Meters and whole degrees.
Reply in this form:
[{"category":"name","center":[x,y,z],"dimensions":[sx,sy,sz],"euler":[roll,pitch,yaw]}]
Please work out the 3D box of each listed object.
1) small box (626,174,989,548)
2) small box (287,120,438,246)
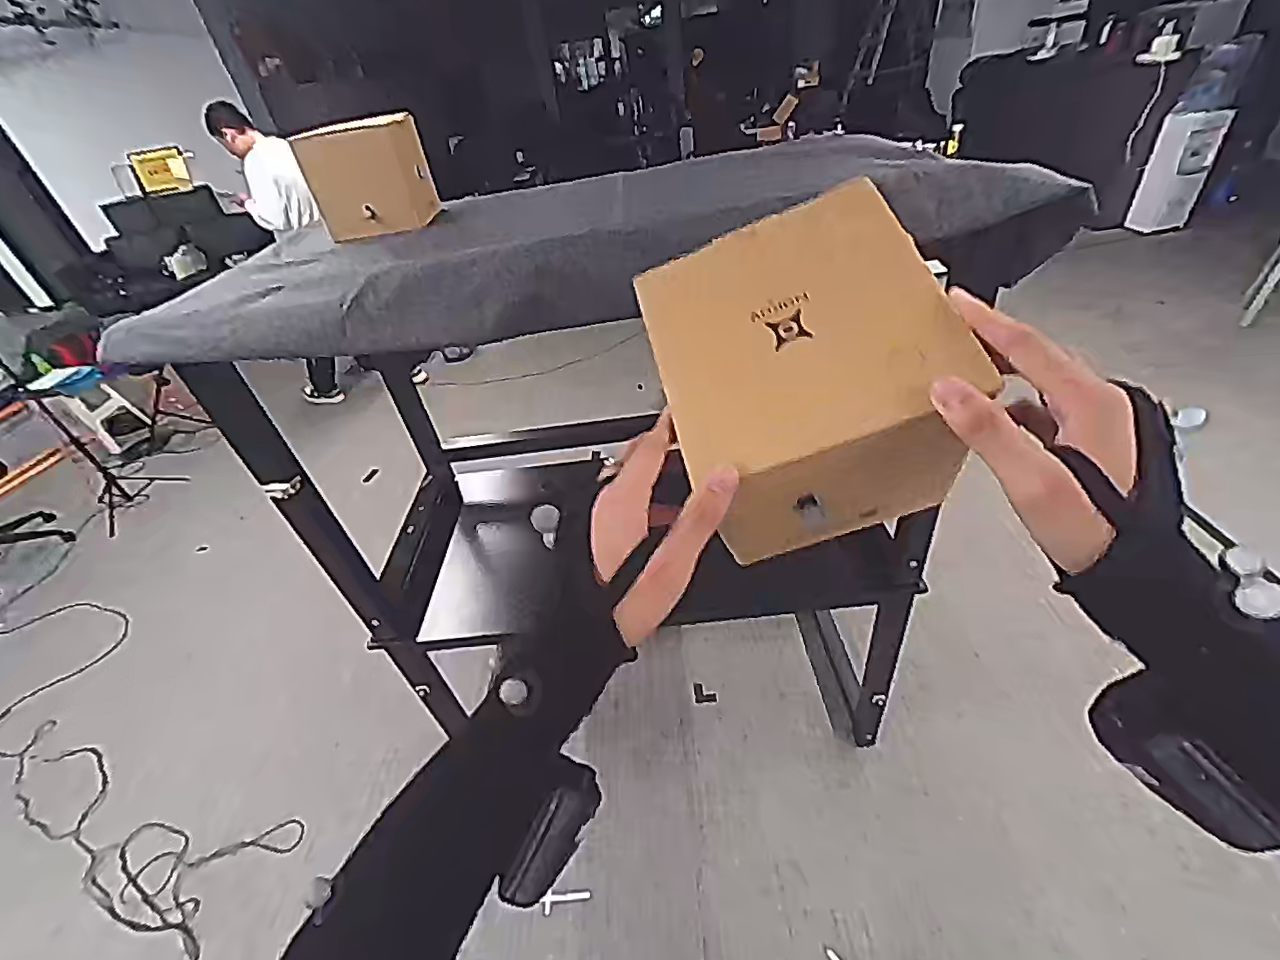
[{"category":"small box","center":[0.109,-0.063,0.387],"dimensions":[0.168,0.176,0.179],"euler":[-20,61,12]},{"category":"small box","center":[-0.501,-0.555,1.011],"dimensions":[0.179,0.176,0.168],"euler":[-8,38,1]}]
